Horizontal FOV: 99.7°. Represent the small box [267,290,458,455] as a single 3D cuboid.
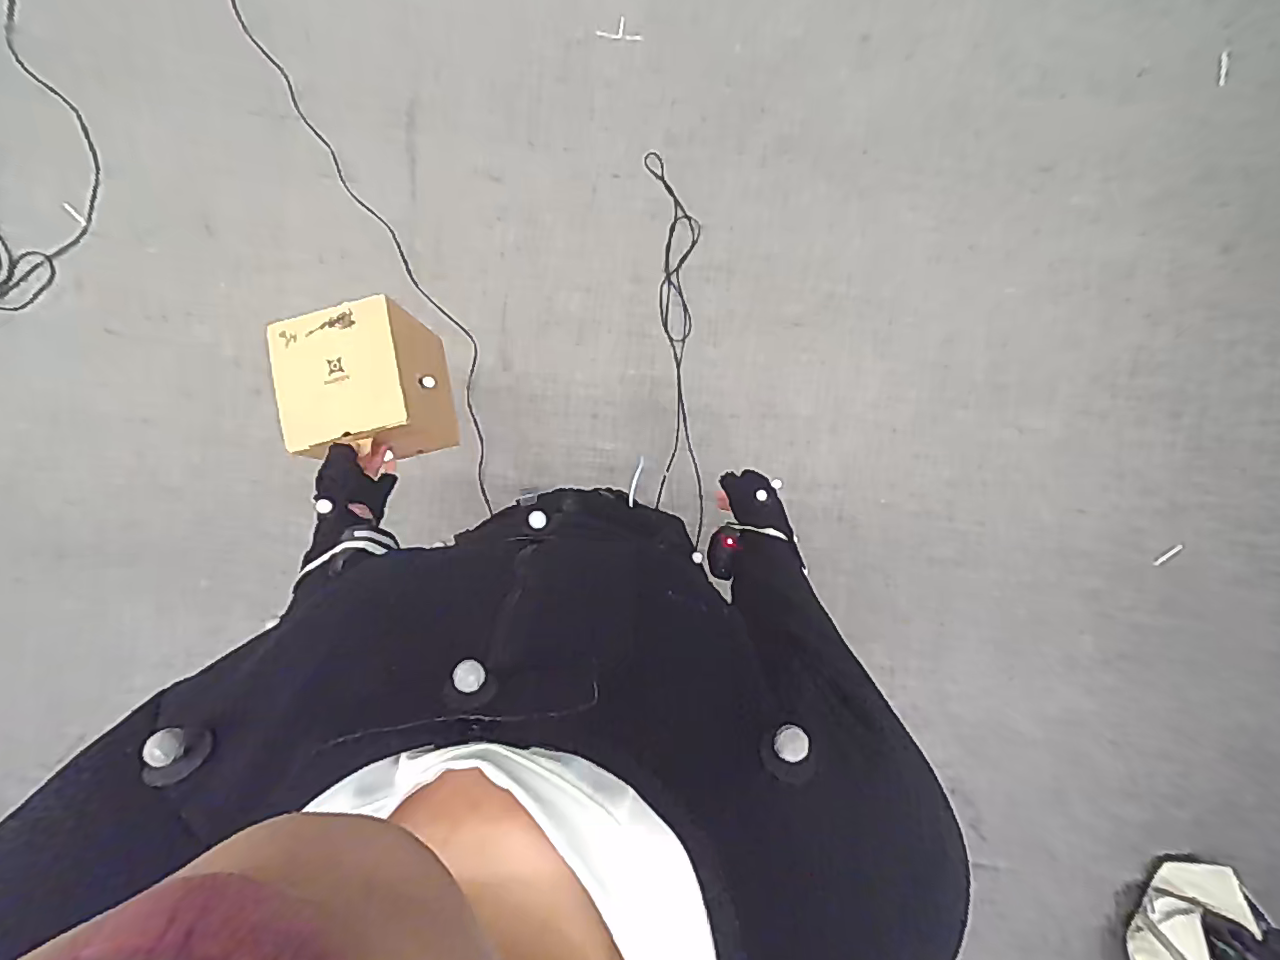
[{"bbox_3d":[-0.377,-0.137,0.765,0.168,0.176,0.179,-13,85,3],"label":"small box"}]
